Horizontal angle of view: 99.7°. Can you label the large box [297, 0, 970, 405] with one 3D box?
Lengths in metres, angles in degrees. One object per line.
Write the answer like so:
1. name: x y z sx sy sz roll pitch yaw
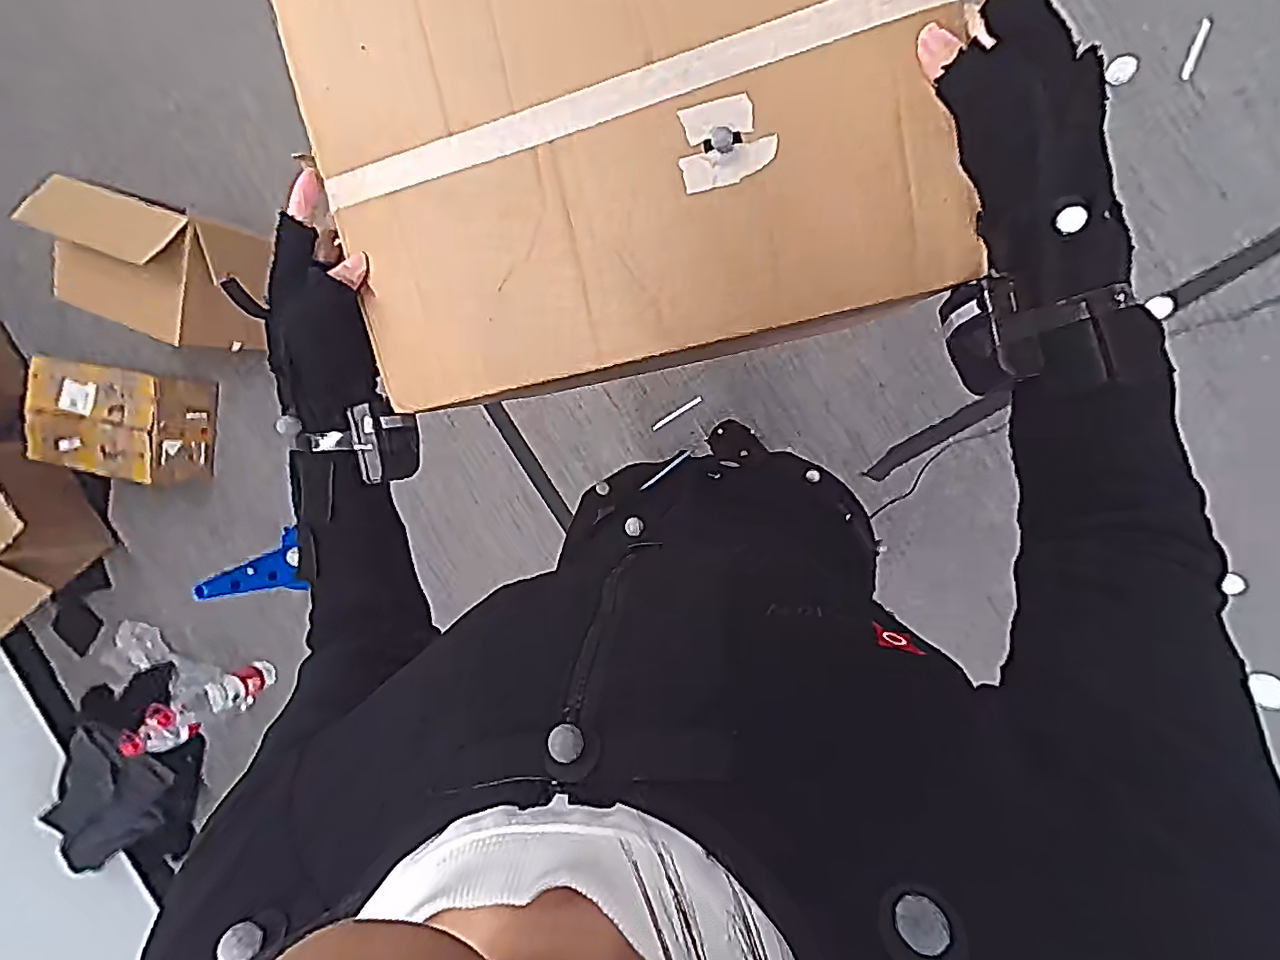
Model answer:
1. large box: 0.006 -0.268 0.496 0.408 0.320 0.320 -11 100 11
